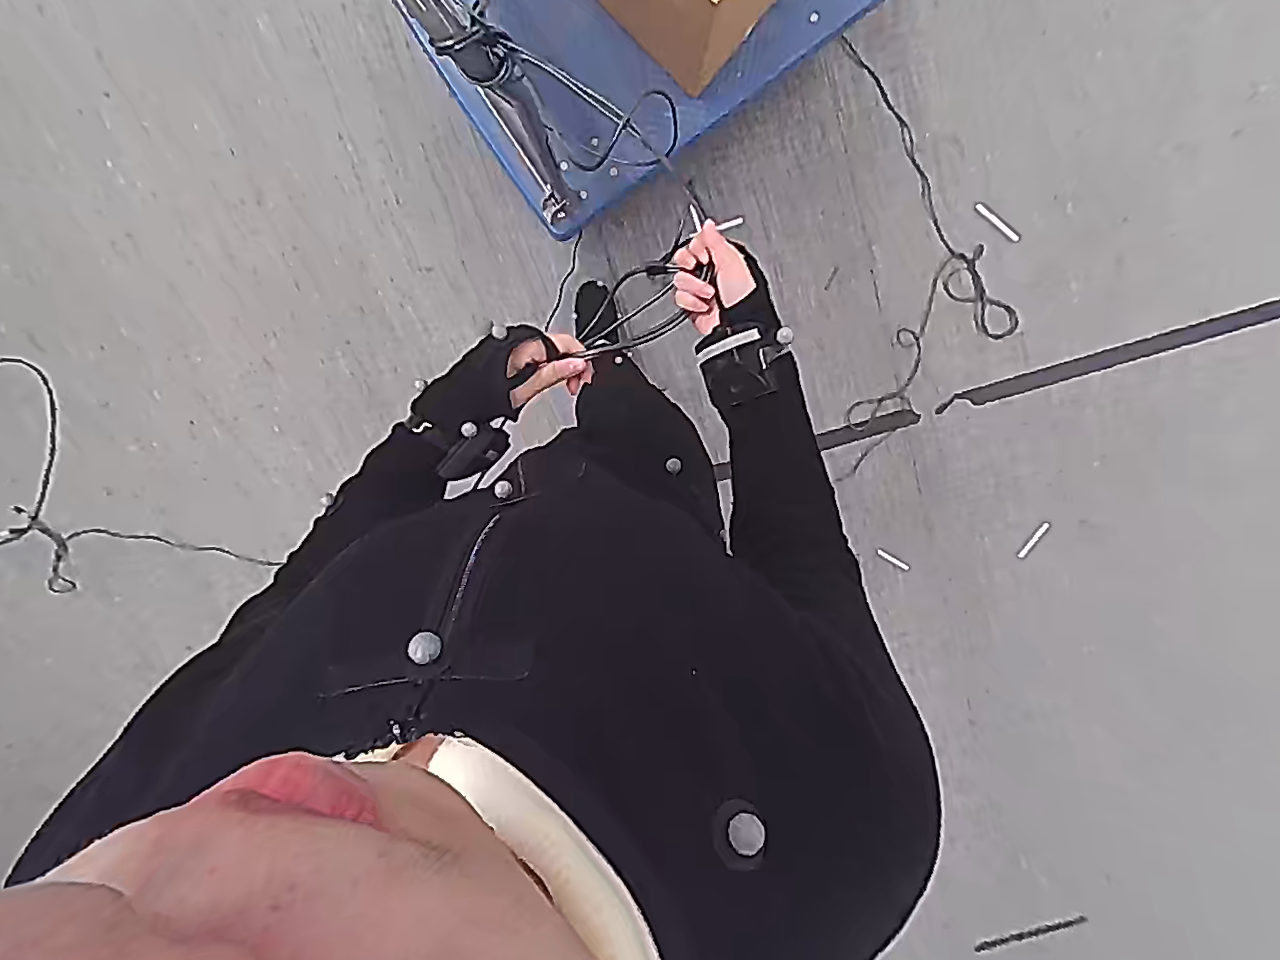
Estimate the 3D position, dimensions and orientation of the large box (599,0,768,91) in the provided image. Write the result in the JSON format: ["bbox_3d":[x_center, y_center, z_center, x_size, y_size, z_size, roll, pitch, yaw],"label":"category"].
[{"bbox_3d":[0.063,-1.003,0.923,0.408,0.320,0.320,40,100,-9],"label":"large box"}]
